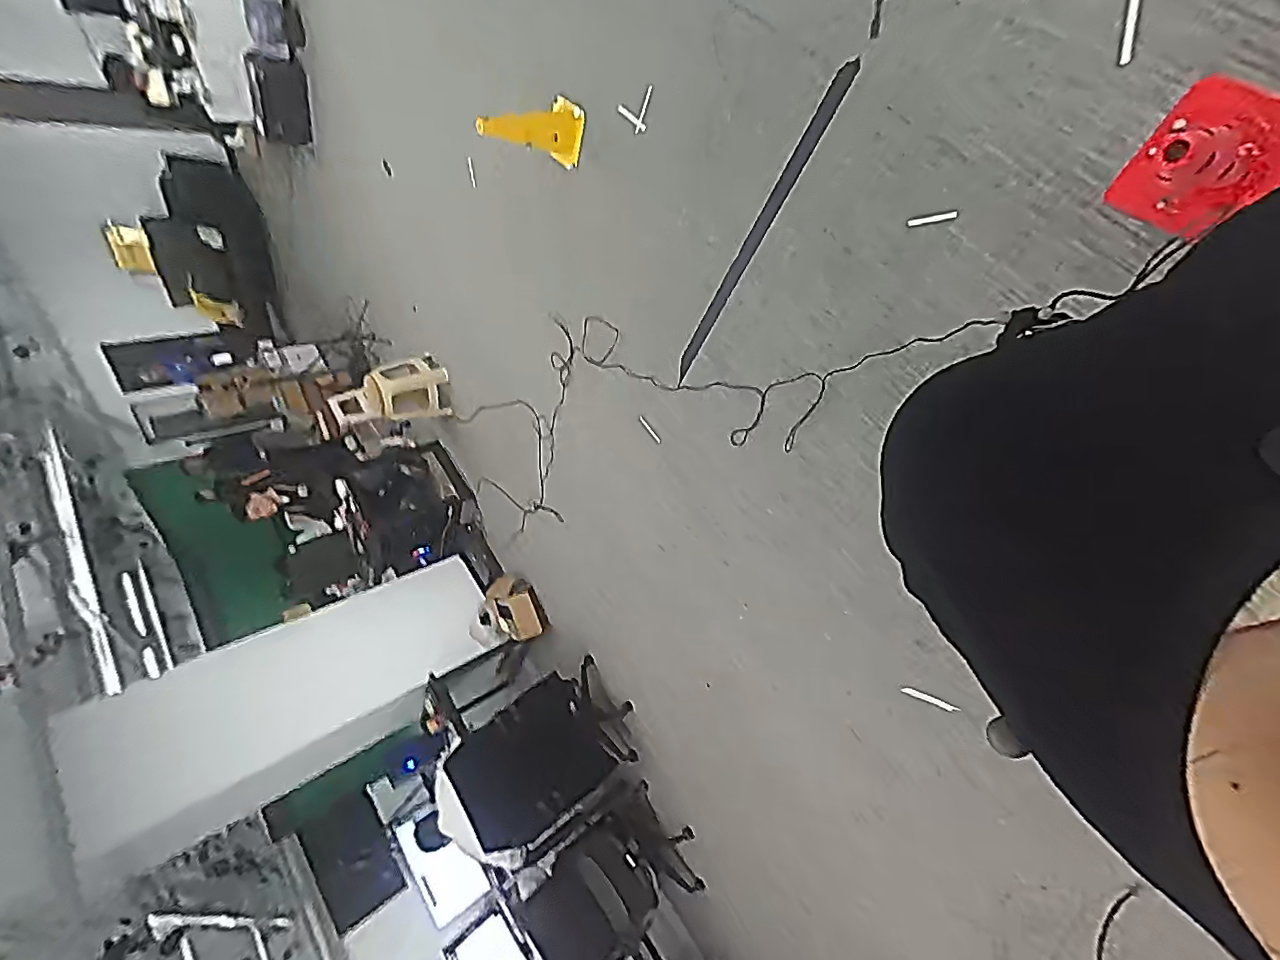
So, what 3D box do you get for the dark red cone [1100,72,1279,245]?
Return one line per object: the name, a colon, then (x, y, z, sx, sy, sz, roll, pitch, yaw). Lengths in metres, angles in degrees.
dark red cone: (0.779, -0.460, 0.771, 0.201, 0.394, 0.202, 49, 140, 27)
